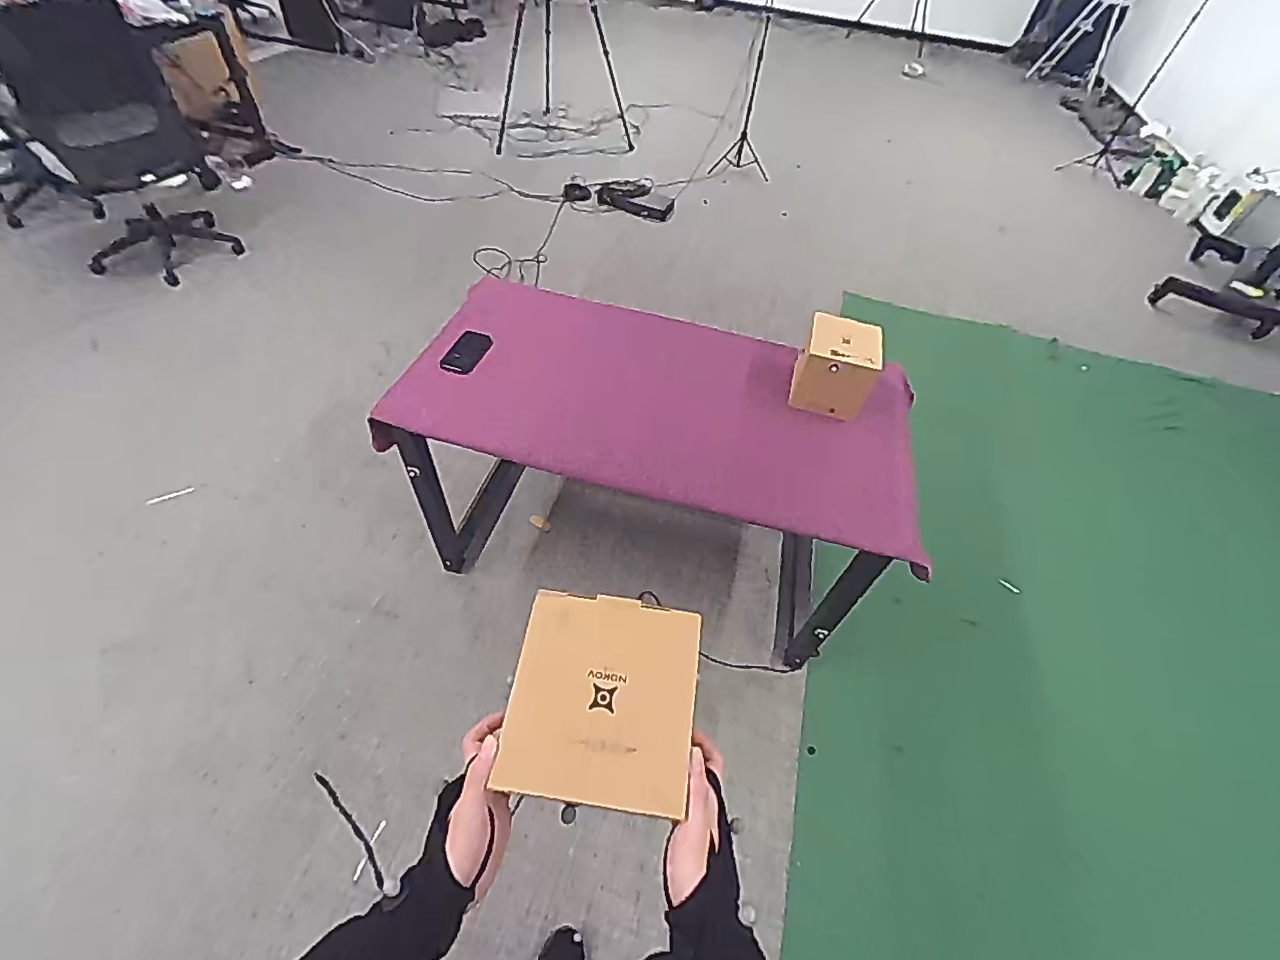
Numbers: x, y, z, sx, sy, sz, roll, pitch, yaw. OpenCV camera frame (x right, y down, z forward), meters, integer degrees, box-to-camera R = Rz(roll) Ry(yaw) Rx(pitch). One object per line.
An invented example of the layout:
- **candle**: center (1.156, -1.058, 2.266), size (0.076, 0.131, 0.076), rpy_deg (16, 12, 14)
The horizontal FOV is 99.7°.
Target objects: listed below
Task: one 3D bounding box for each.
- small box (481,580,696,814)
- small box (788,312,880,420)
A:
- **small box**: center (-0.043, 0.223, 0.546), size (0.168, 0.176, 0.179), rpy_deg (8, 59, 2)
- **small box**: center (0.469, -0.277, 1.317), size (0.168, 0.176, 0.179), rpy_deg (15, 50, 7)
